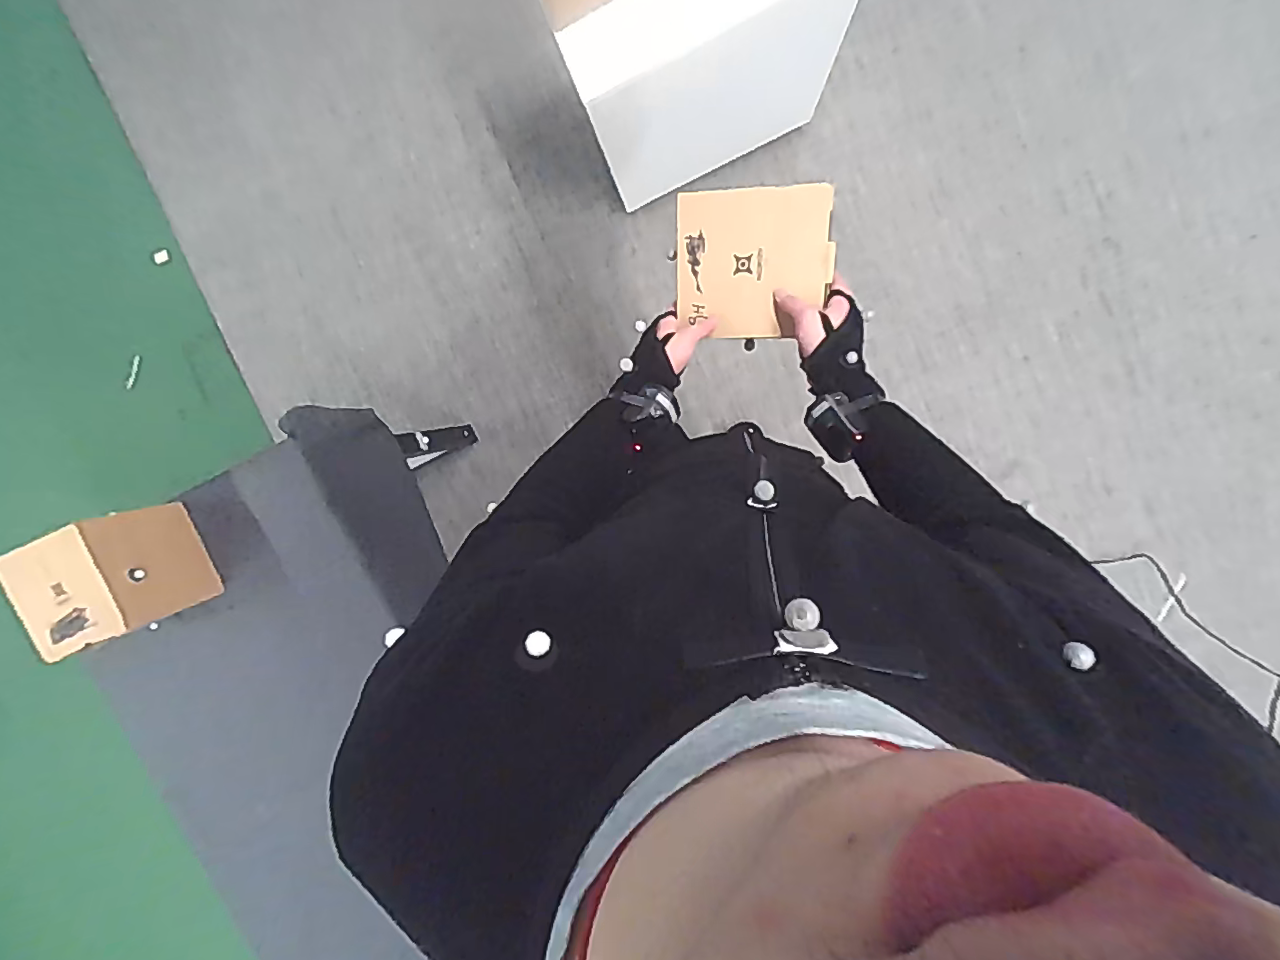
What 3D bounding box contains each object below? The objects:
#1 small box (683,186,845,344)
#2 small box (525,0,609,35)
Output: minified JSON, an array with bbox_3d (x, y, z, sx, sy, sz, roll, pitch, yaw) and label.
[{"bbox_3d":[0.146,-0.260,0.688,0.179,0.176,0.168,1,104,8],"label":"small box"},{"bbox_3d":[-0.114,-0.799,0.763,0.179,0.176,0.168,-26,94,7],"label":"small box"}]
